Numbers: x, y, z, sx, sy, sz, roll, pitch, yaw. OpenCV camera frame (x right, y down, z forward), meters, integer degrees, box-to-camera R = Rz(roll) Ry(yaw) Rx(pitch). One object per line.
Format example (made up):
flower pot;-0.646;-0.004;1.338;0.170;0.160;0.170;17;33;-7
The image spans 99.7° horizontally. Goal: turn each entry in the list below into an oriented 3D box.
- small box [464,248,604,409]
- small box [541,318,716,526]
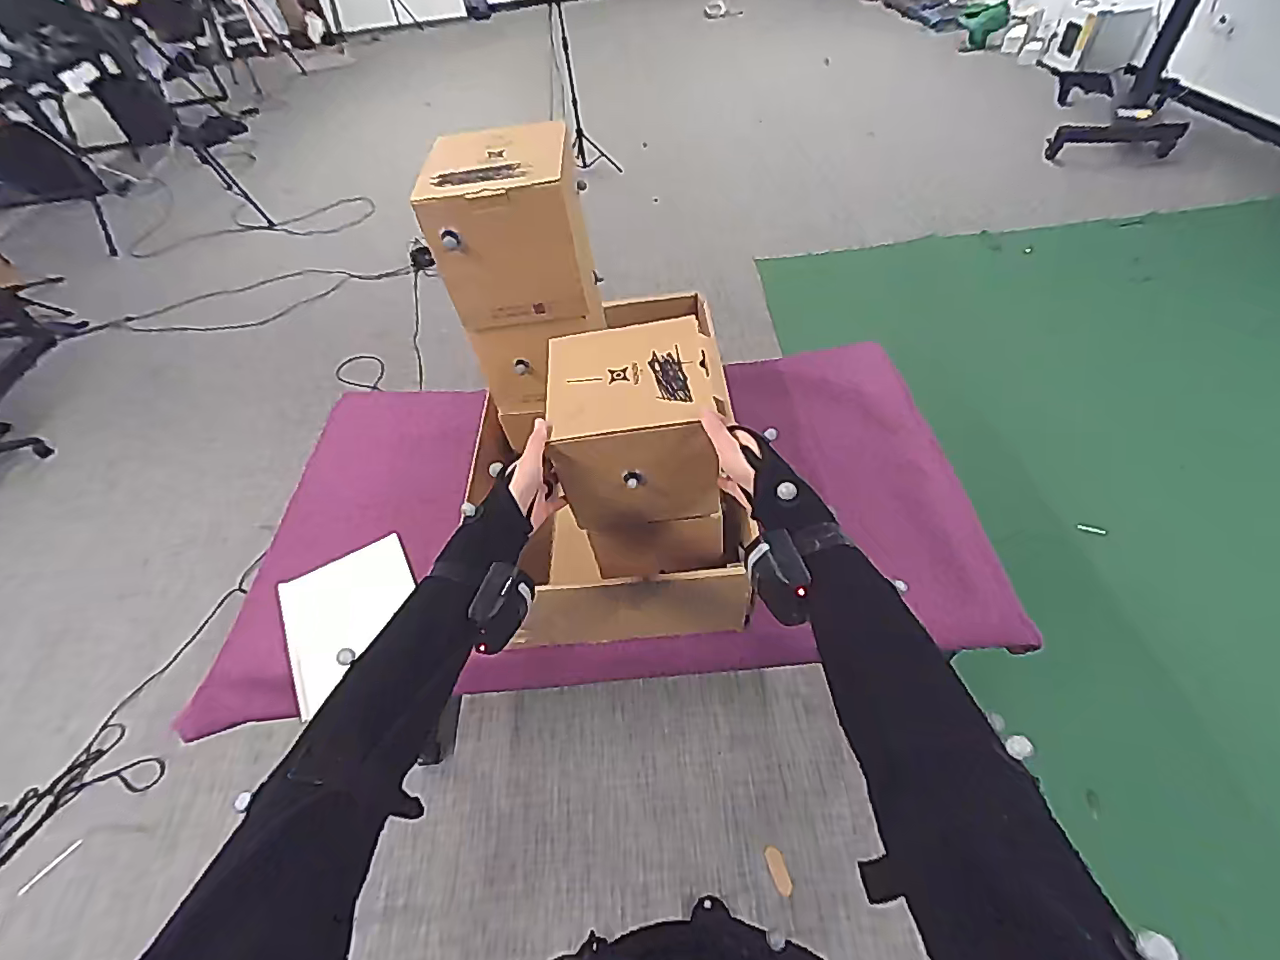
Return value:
small box;-0.146;-0.221;0.821;0.168;0.176;0.179;-4;51;4
small box;-0.008;-0.063;0.640;0.179;0.176;0.168;-7;52;4
